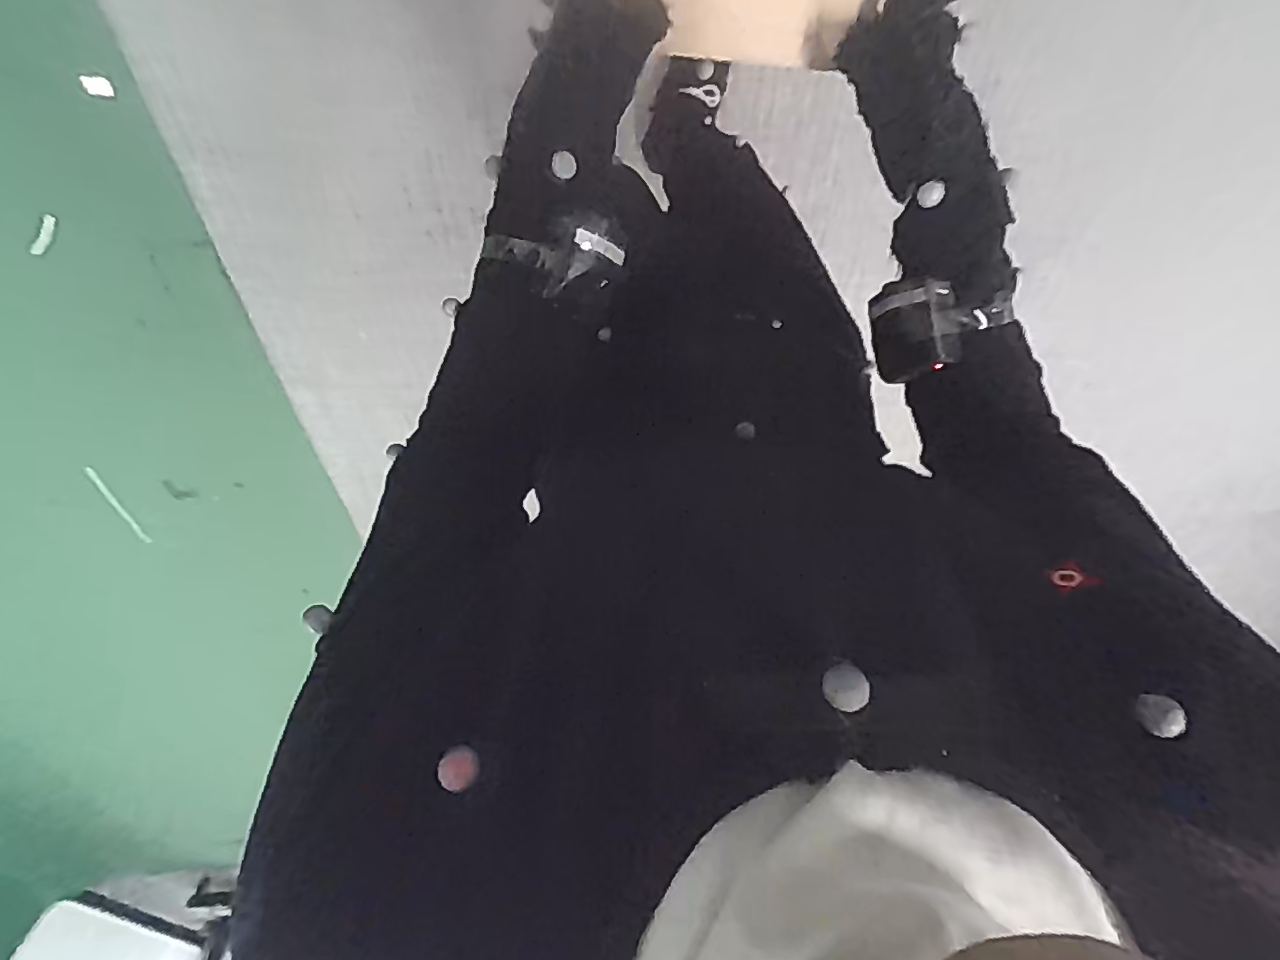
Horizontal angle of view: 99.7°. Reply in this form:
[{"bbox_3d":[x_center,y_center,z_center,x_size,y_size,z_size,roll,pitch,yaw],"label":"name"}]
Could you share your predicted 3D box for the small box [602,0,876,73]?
[{"bbox_3d":[0.065,-0.399,0.377,0.179,0.176,0.168,-1,131,-8],"label":"small box"}]
